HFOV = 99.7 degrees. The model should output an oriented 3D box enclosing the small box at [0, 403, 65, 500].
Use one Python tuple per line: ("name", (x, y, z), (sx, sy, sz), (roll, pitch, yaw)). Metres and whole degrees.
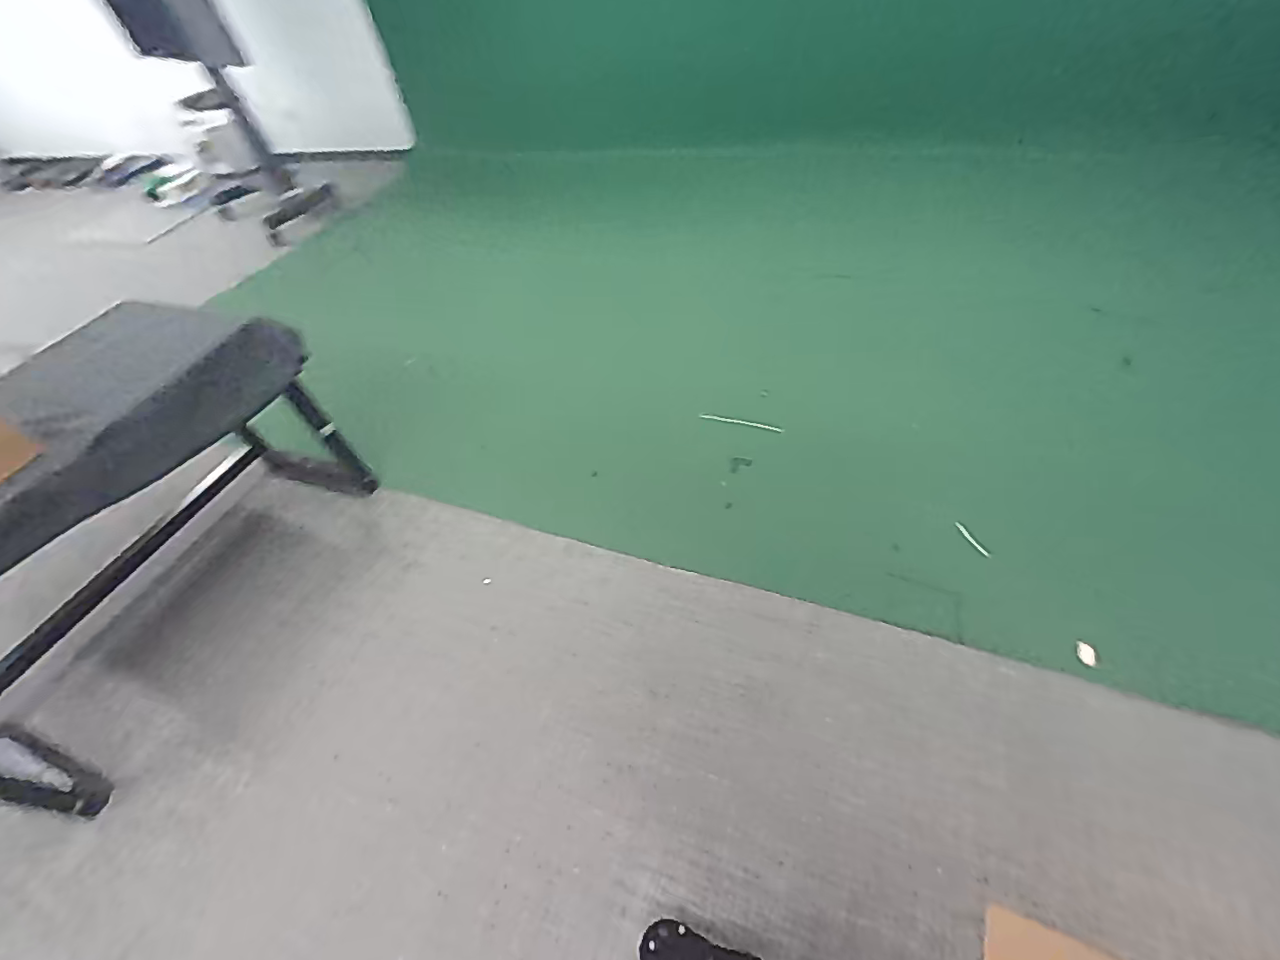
("small box", (-1.444, -0.065, 1.175), (0.168, 0.176, 0.179), (5, 50, 18))
